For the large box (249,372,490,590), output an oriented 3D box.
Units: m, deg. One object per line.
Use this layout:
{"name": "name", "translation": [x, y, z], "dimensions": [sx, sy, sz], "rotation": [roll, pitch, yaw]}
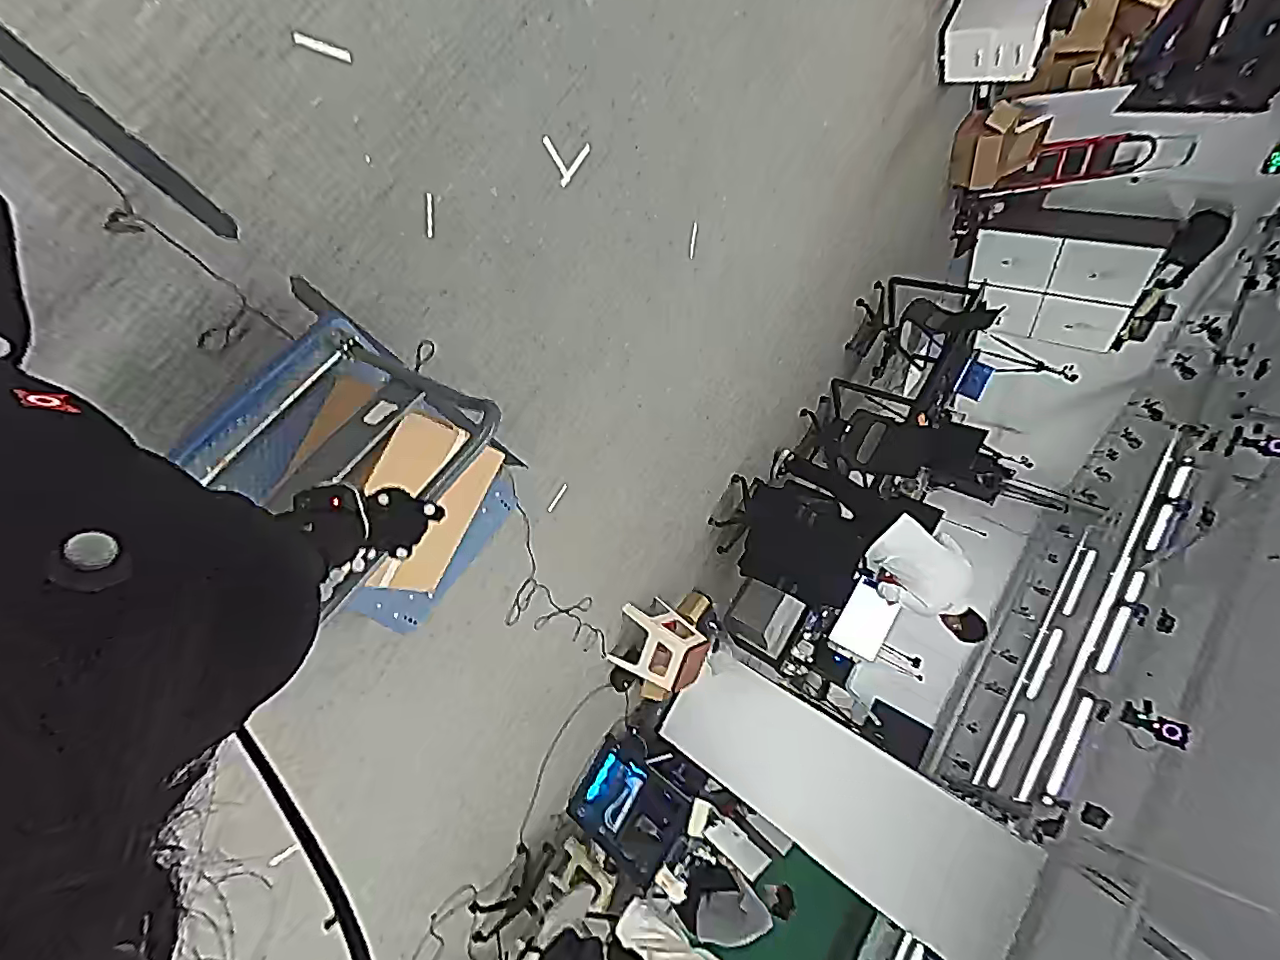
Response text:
{"name": "large box", "translation": [-0.652, 0.007, 1.326], "dimensions": [0.408, 0.320, 0.320], "rotation": [-62, 148, -3]}
